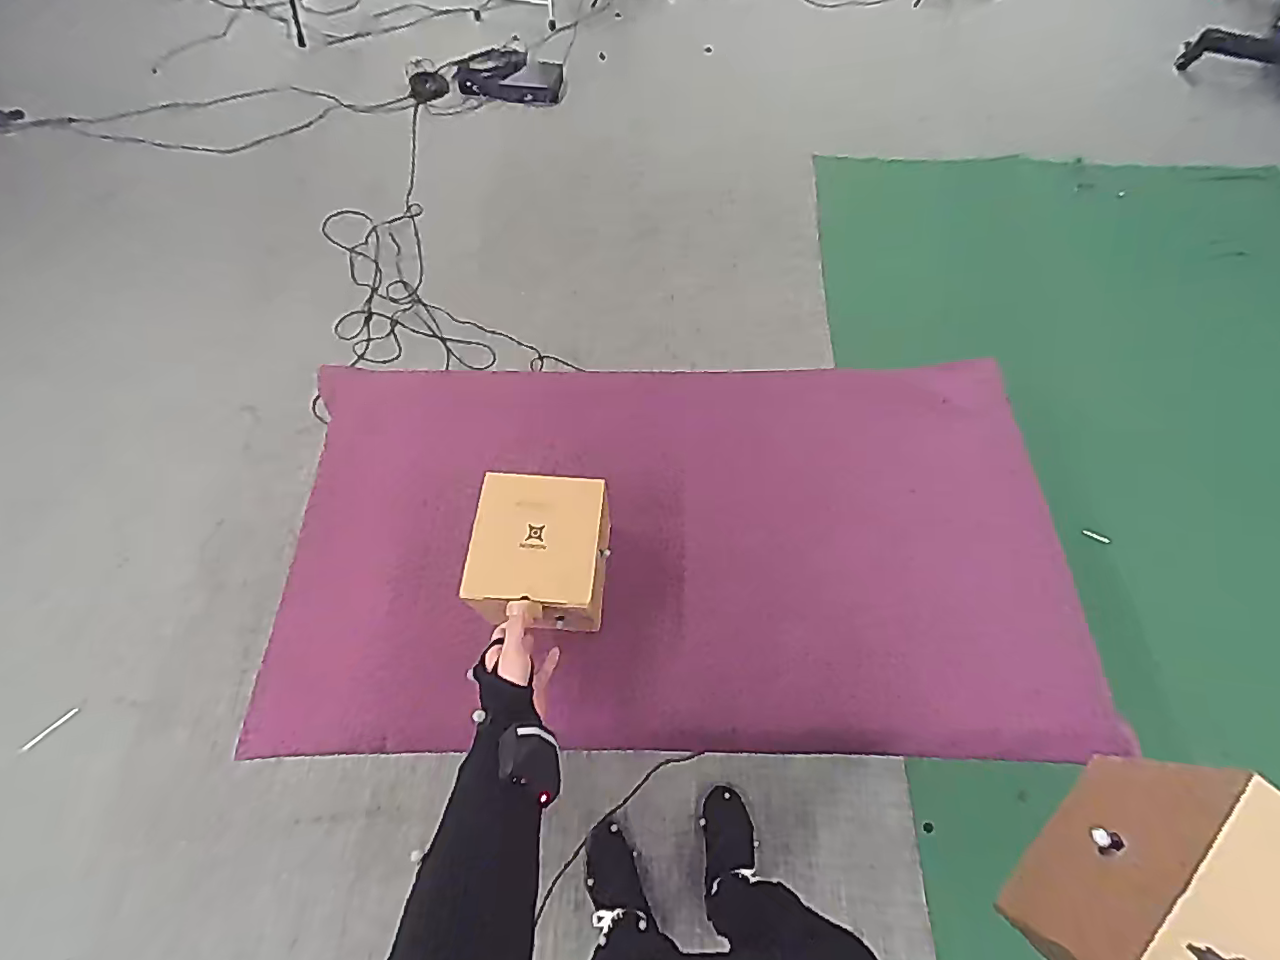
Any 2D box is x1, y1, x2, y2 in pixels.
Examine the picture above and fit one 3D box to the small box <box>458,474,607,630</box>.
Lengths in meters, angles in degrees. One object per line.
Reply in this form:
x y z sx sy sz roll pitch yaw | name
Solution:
-0.139 0.110 0.776 0.168 0.176 0.179 5 64 1 | small box
